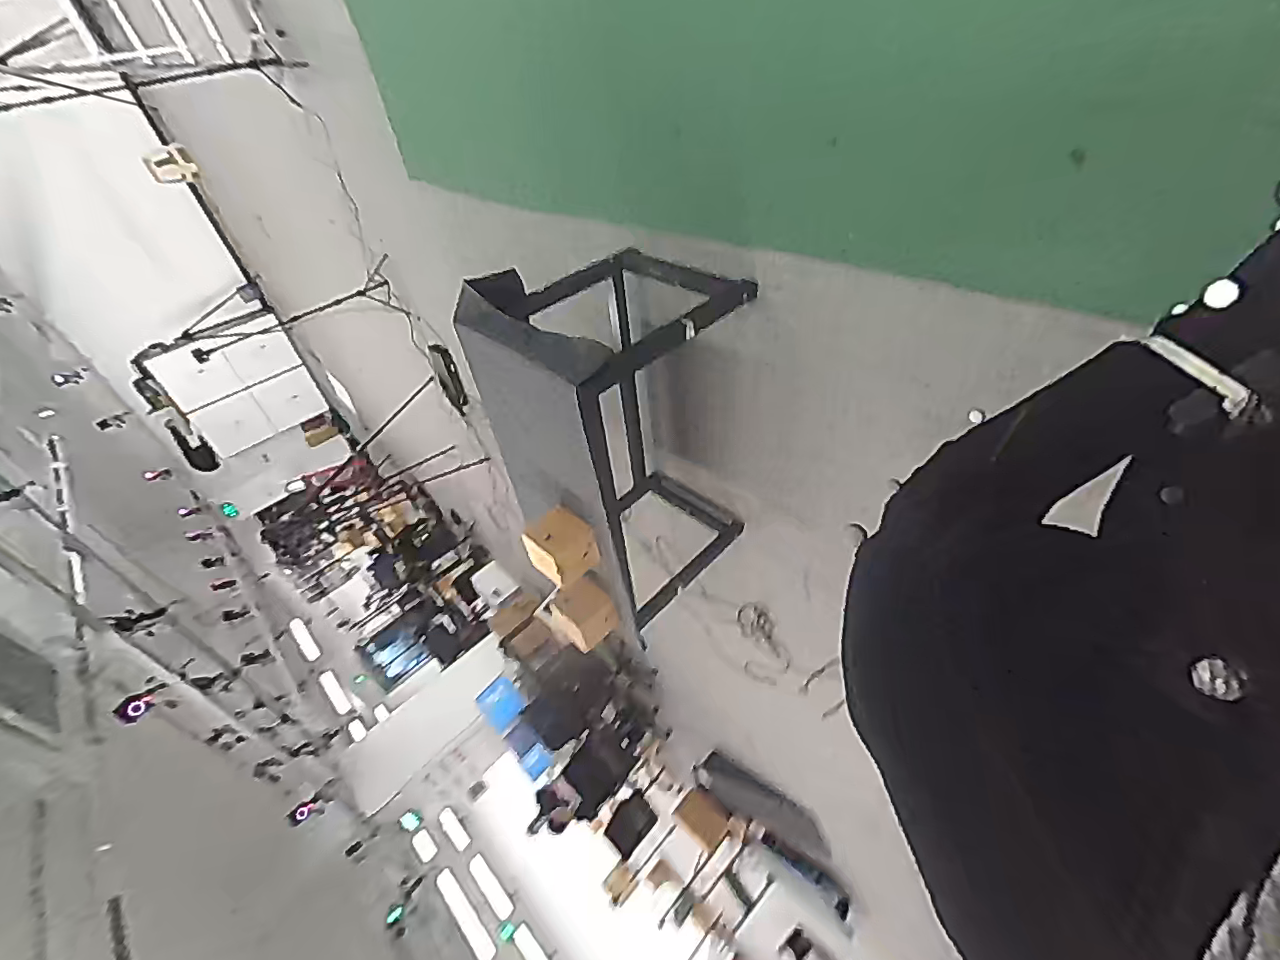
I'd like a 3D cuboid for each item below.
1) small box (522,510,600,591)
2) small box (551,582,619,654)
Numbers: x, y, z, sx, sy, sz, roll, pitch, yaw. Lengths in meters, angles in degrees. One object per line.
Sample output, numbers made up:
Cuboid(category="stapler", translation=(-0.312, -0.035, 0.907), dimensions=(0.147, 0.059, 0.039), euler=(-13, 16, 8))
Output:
Cuboid(category="small box", translation=(-0.258, 0.226, 1.796), dimensions=(0.179, 0.176, 0.168), euler=(29, 144, 36))
Cuboid(category="small box", translation=(-0.204, 0.510, 2.034), dimensions=(0.179, 0.176, 0.168), euler=(29, 144, 37))
